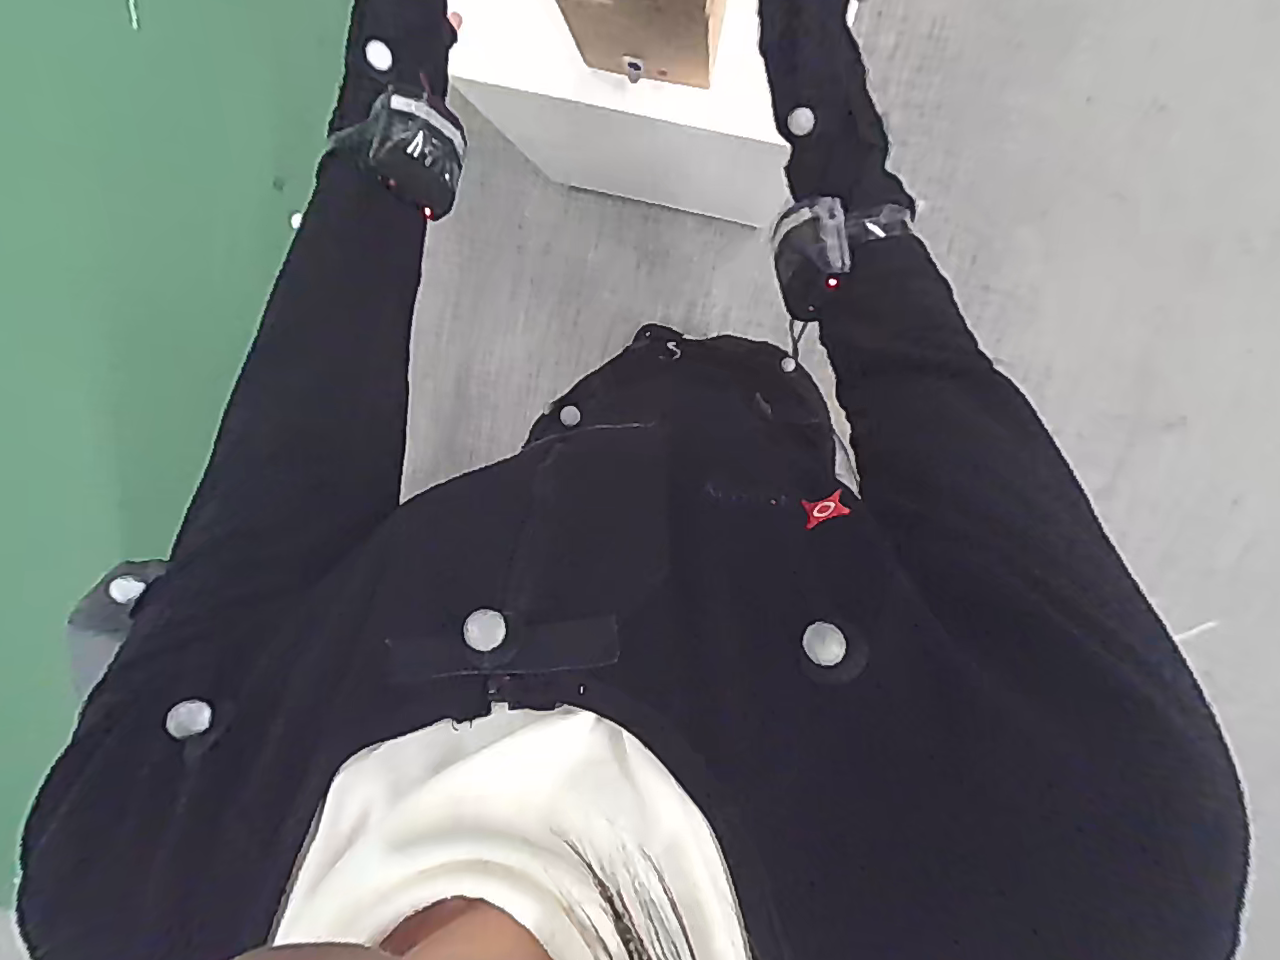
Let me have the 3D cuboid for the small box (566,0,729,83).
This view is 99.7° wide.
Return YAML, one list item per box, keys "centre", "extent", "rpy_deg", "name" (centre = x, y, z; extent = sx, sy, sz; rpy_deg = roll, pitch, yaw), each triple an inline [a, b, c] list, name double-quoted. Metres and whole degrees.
- centre: [0.015, -0.573, 0.581]
  extent: [0.168, 0.176, 0.179]
  rpy_deg: [13, 108, 5]
  name: "small box"
